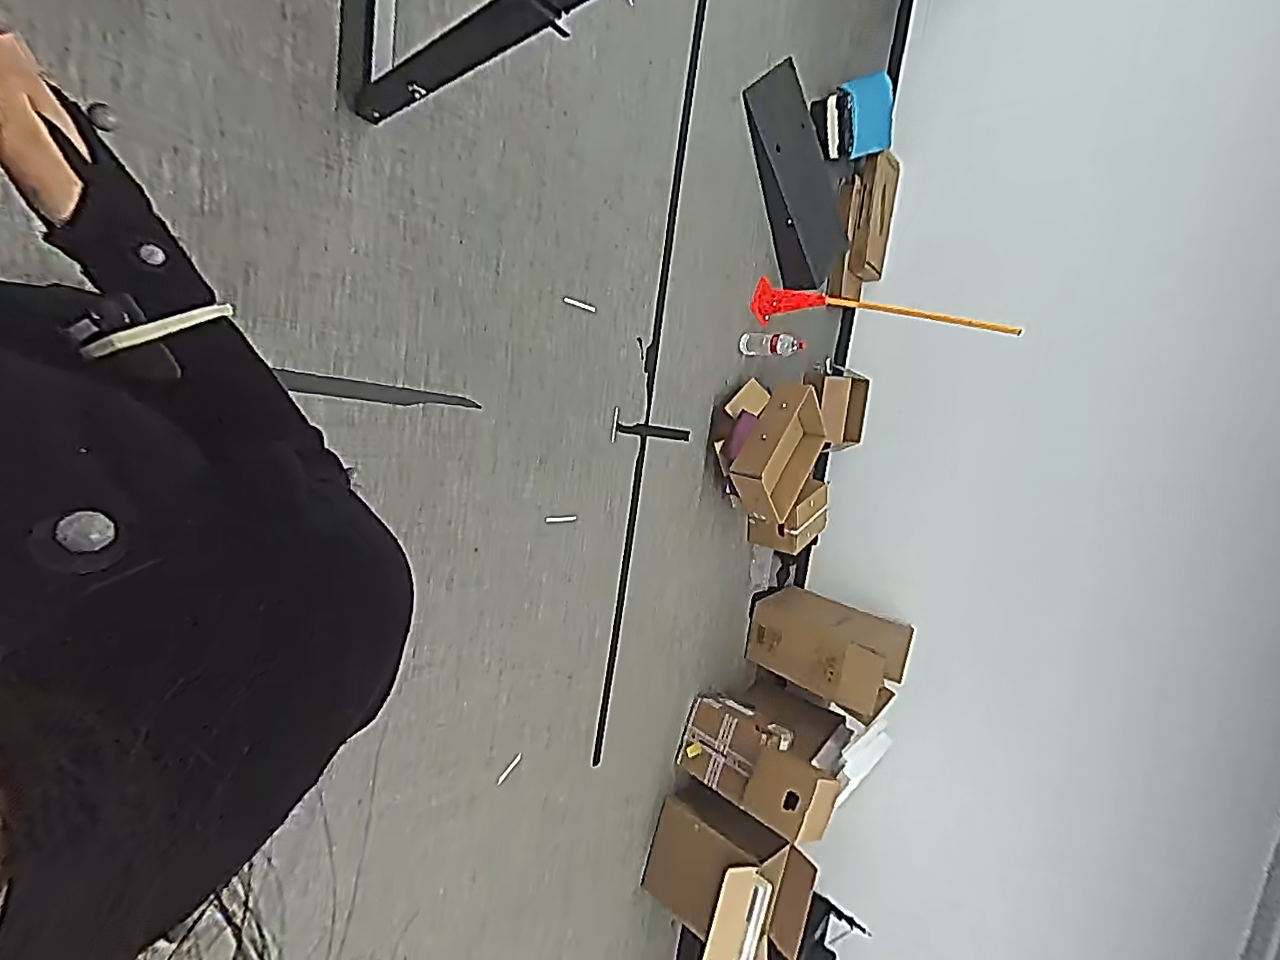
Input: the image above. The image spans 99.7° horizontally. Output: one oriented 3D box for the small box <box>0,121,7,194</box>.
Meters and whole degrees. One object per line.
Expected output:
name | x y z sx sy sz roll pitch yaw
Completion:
small box | -0.394 -0.223 0.215 0.168 0.176 0.179 -9 105 -51
